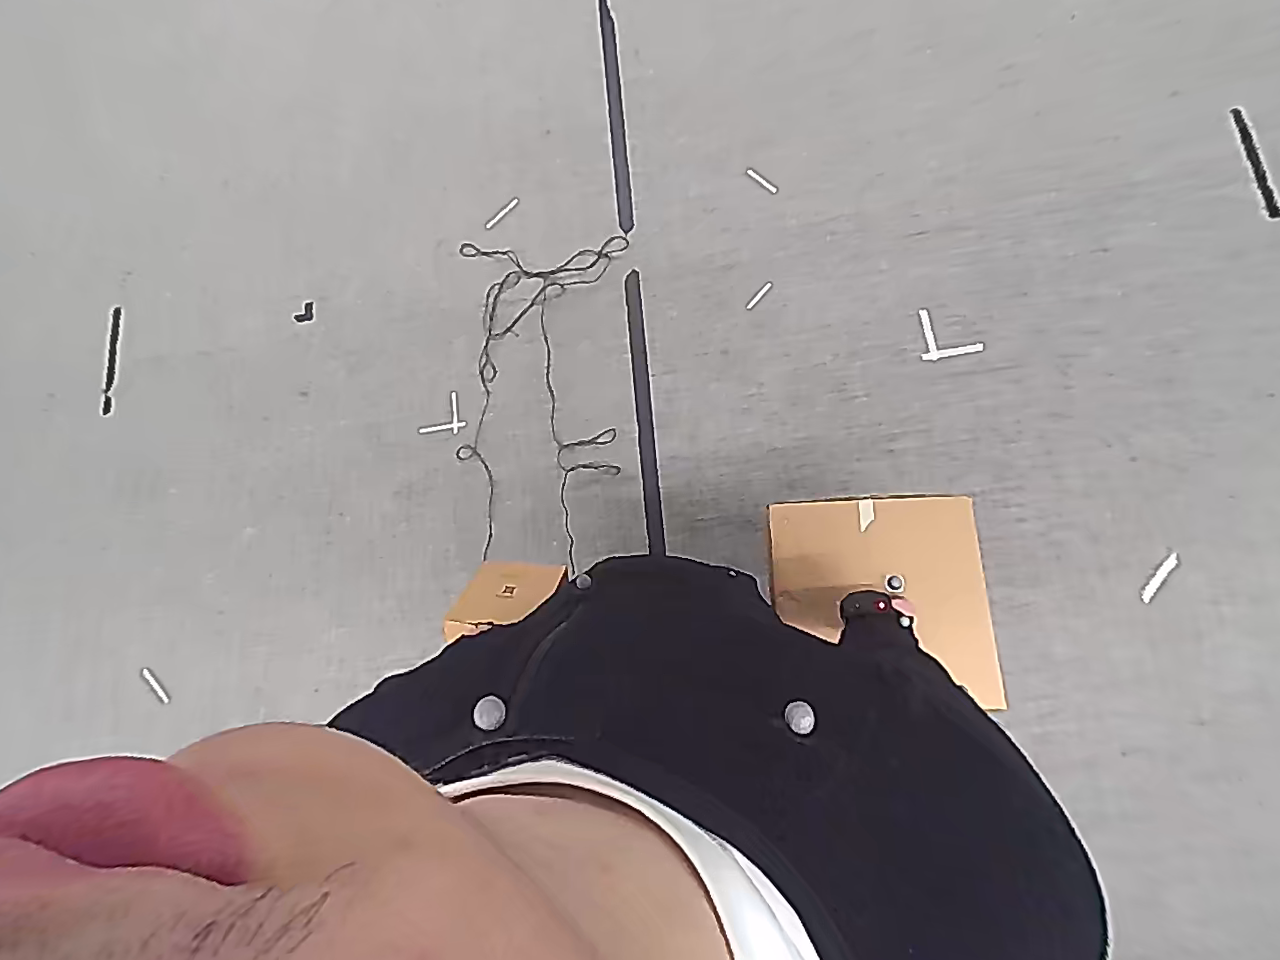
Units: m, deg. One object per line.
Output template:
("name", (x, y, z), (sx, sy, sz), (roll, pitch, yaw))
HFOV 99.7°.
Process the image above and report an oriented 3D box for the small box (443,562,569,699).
("small box", (-0.231, 0.271, 0.986), (0.168, 0.179, 0.176), (3, 116, 7))
